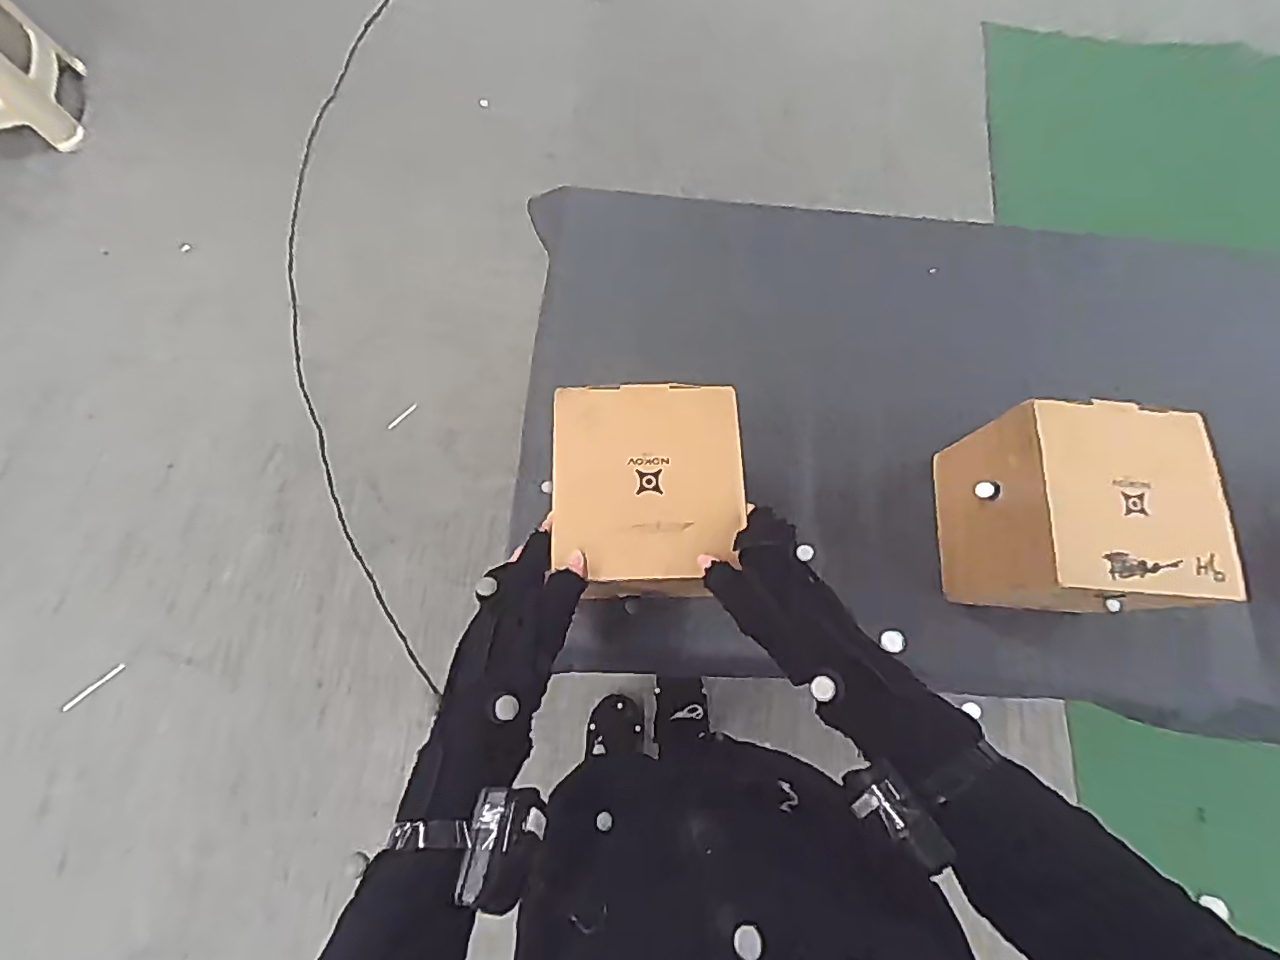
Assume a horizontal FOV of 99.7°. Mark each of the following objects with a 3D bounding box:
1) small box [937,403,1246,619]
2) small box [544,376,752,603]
[{"bbox_3d":[0.432,0.042,0.556,0.168,0.176,0.179,5,72,-1],"label":"small box"},{"bbox_3d":[0.006,0.019,0.521,0.168,0.176,0.179,1,72,-1],"label":"small box"}]
